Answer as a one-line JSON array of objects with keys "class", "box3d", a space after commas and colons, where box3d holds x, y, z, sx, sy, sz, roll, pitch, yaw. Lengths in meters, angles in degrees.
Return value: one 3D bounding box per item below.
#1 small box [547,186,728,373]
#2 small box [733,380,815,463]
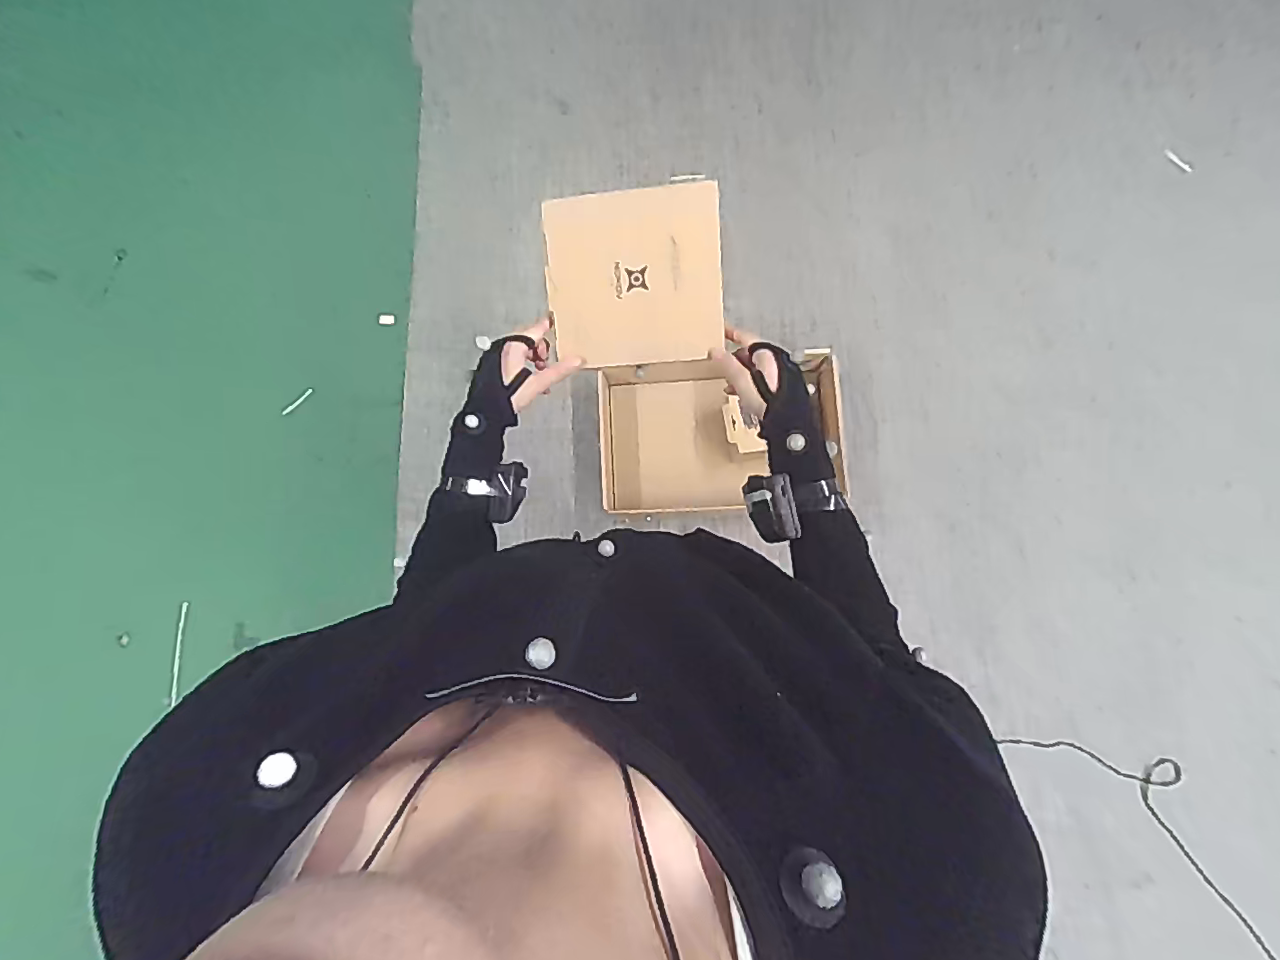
[{"class": "small box", "box3d": [0.009, -0.211, 0.616, 0.179, 0.176, 0.168, -3, 101, 9]}, {"class": "small box", "box3d": [0.343, -0.146, 1.418, 0.179, 0.176, 0.168, -9, 82, 4]}]
